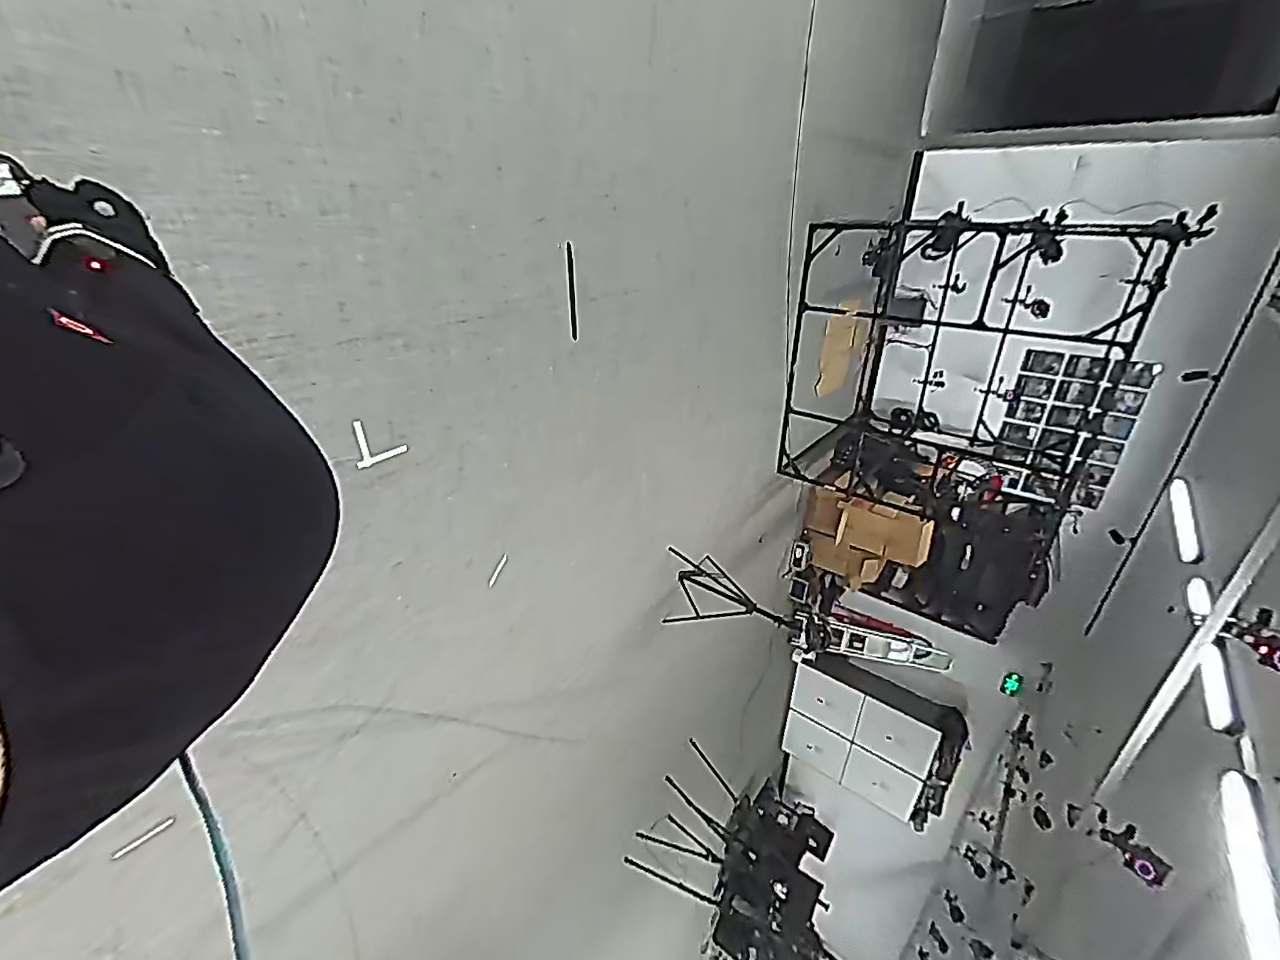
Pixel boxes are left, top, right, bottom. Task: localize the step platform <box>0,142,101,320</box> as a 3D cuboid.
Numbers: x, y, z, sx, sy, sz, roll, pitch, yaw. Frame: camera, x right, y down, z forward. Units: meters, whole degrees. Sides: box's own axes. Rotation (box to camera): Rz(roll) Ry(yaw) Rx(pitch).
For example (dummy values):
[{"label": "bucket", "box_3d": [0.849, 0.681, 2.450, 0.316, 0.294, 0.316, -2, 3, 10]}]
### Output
[{"label": "step platform", "box_3d": [-1.319, -0.370, 0.833, 0.684, 0.204, 0.286, -33, 132, -45]}]
